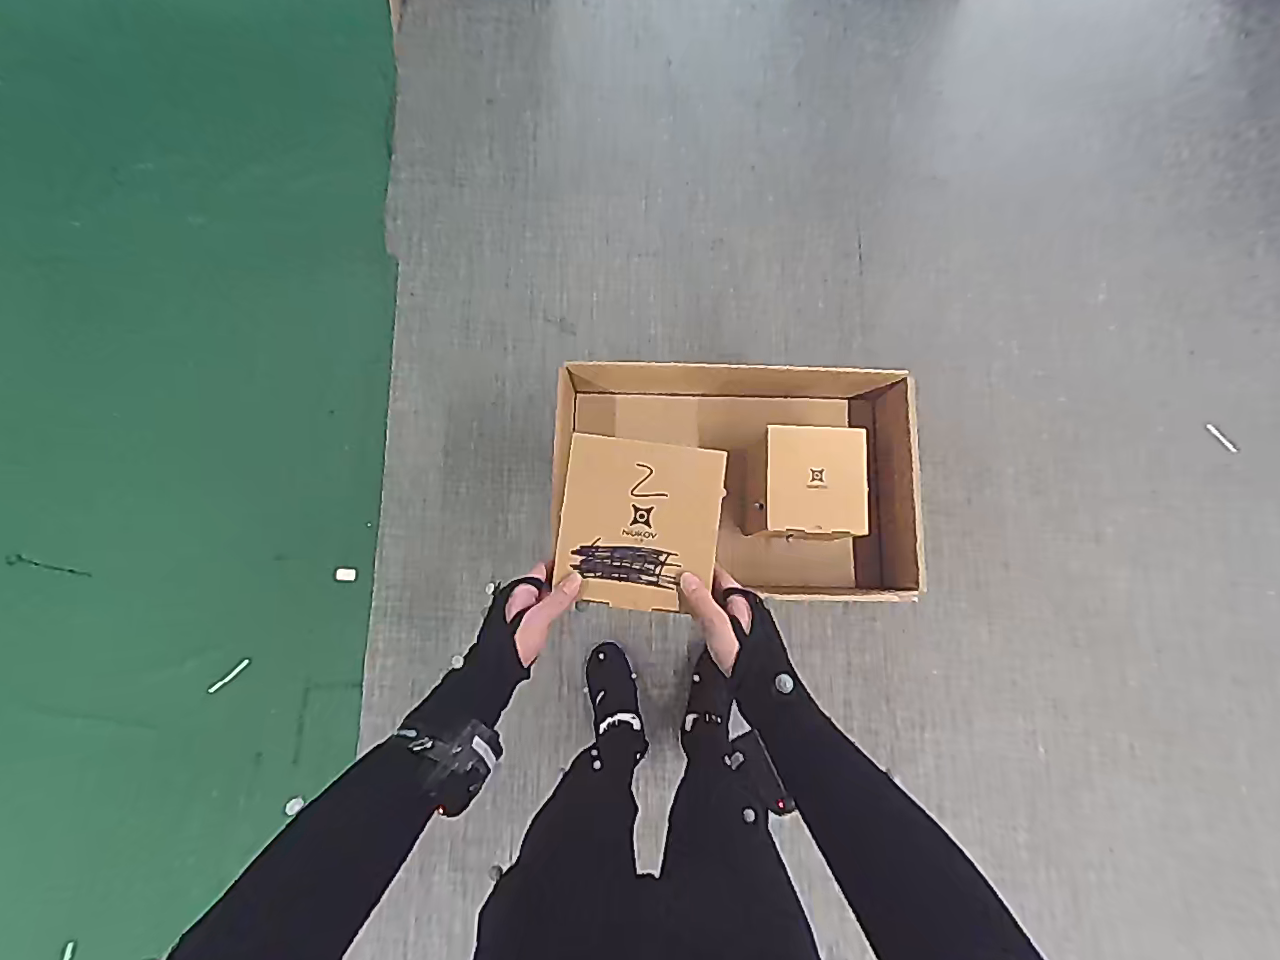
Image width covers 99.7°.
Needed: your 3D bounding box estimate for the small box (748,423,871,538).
[{"bbox_3d":[0.288,0.008,0.949,0.168,0.176,0.179,2,82,-1],"label":"small box"}]
